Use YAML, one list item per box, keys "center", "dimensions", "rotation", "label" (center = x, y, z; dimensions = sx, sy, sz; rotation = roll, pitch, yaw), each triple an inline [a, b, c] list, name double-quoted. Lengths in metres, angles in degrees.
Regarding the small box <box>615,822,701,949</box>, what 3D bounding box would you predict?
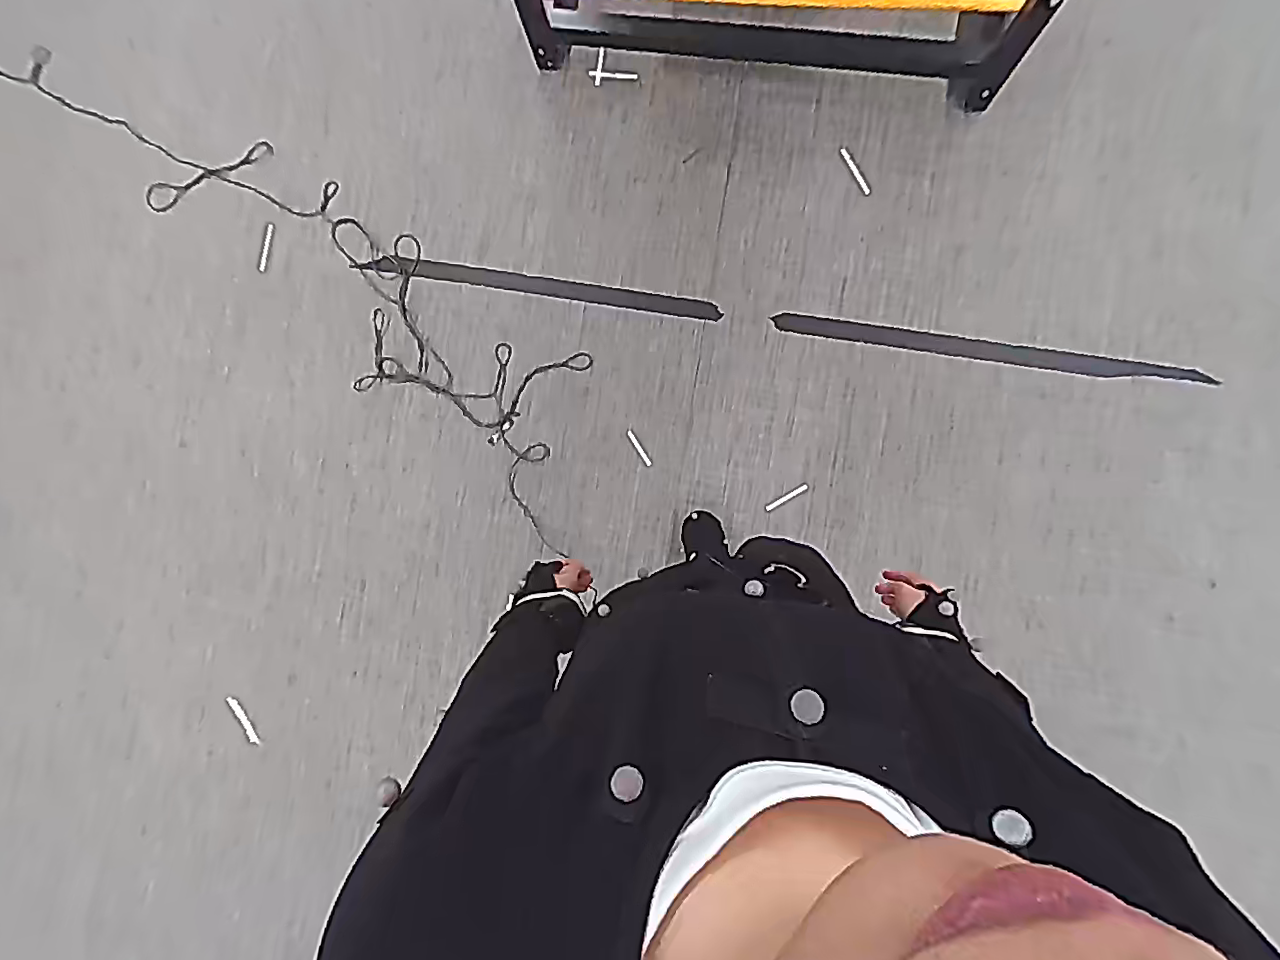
- center: [0.046, 0.958, 1.293]
  dimensions: [0.179, 0.176, 0.168]
  rotation: [8, 88, 5]
  label: "small box"
